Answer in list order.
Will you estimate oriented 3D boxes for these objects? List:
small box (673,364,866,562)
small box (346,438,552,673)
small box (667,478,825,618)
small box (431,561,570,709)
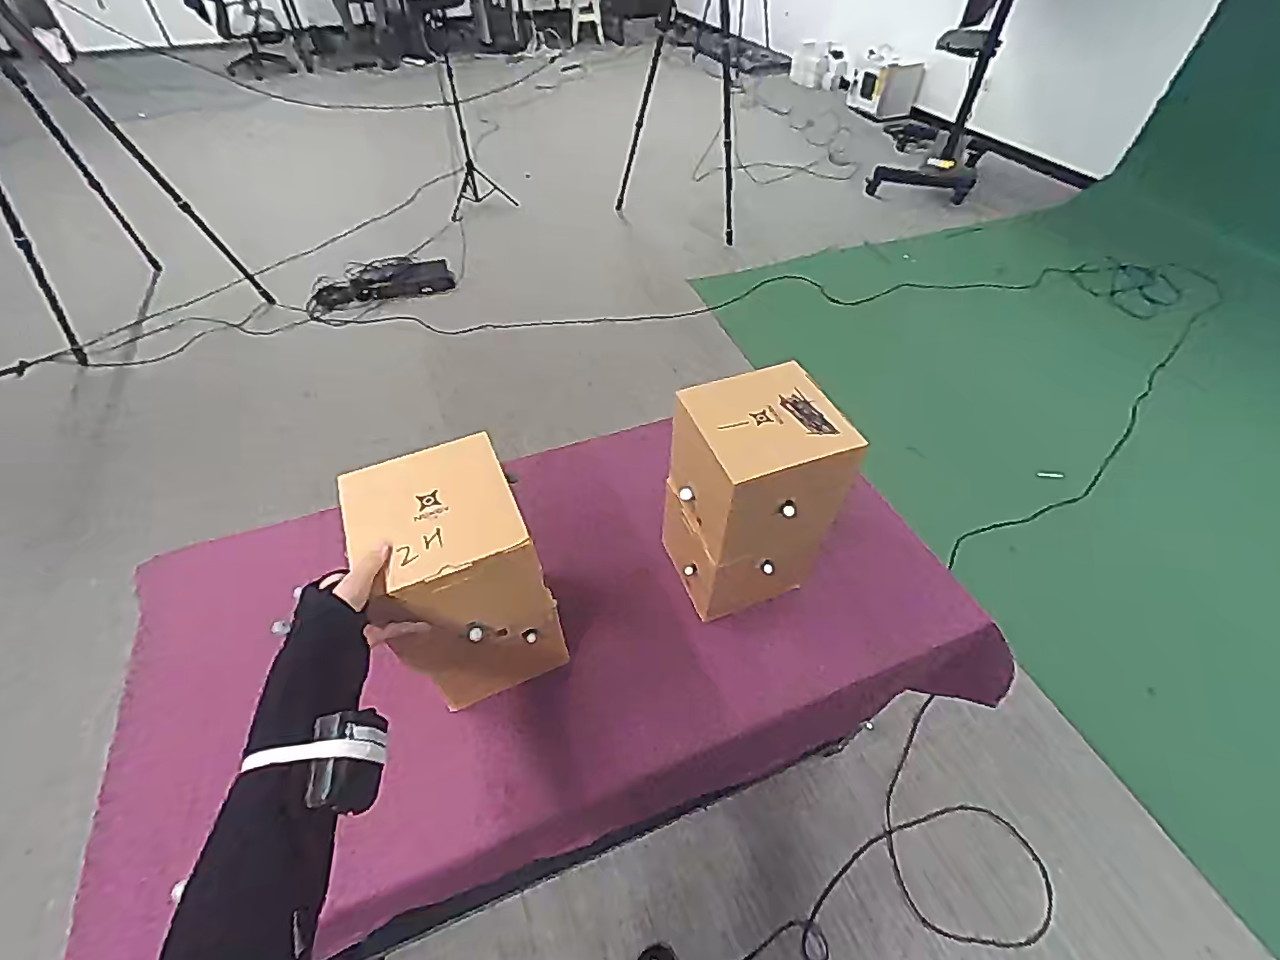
[{"bbox_3d":[0.153,-0.021,0.710,0.179,0.176,0.168,-17,52,-12],"label":"small box"},{"bbox_3d":[-0.213,0.086,0.621,0.168,0.176,0.179,-20,52,-16],"label":"small box"},{"bbox_3d":[0.150,0.087,0.834,0.179,0.176,0.168,-16,51,-14],"label":"small box"},{"bbox_3d":[-0.211,0.188,0.752,0.179,0.176,0.168,-20,51,-17],"label":"small box"}]
